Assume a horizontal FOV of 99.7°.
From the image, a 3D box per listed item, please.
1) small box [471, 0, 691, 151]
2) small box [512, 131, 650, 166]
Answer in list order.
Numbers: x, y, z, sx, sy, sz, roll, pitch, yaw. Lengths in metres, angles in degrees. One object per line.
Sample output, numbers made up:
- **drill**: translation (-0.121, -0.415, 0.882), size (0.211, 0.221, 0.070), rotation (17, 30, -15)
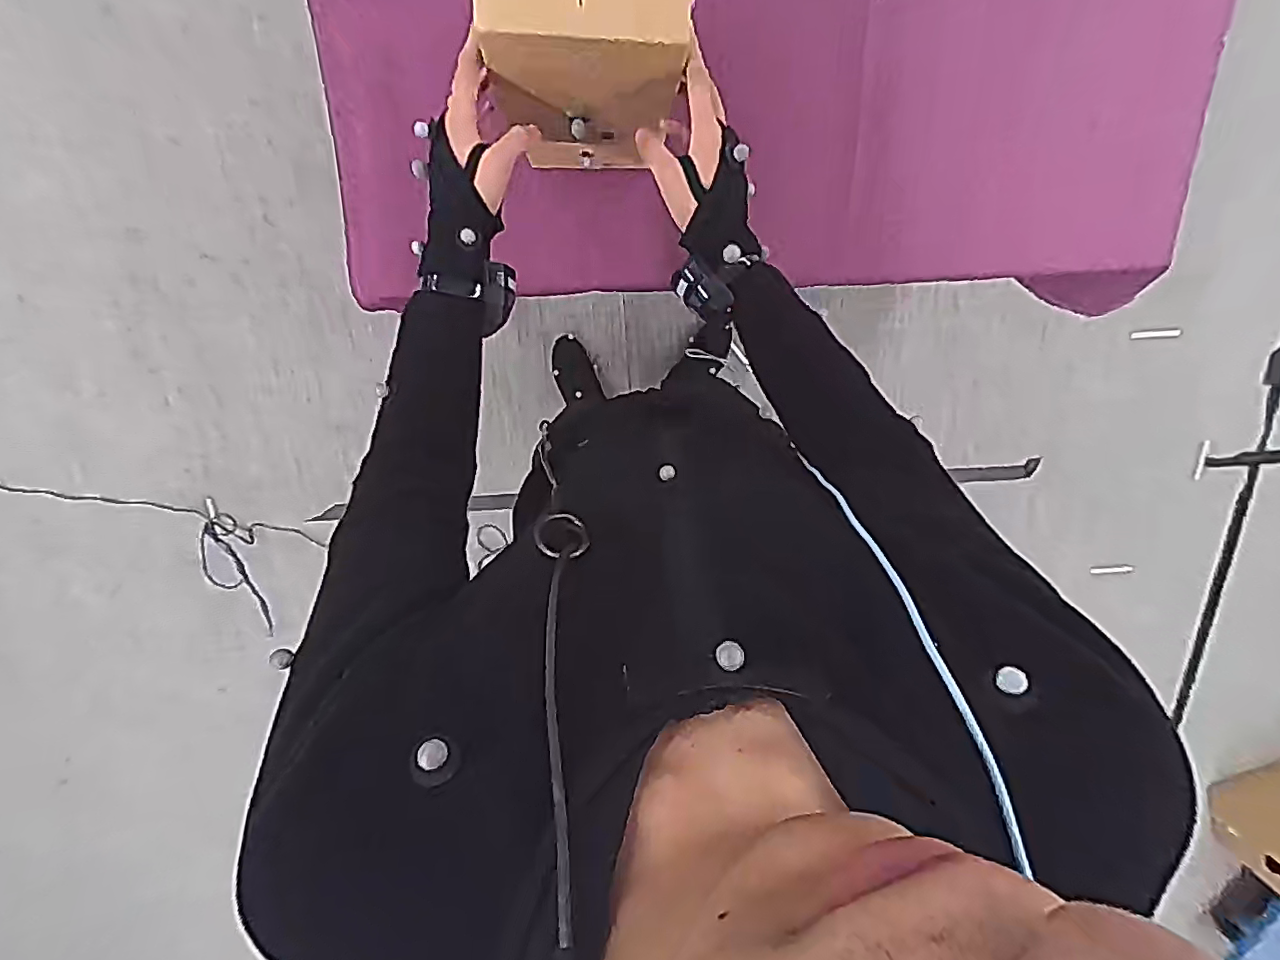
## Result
- **small box**: translation (-0.050, -0.427, 0.475), size (0.168, 0.176, 0.179), rotation (0, 96, -5)
- **small box**: translation (-0.065, -0.490, 0.646), size (0.168, 0.176, 0.179), rotation (-1, 108, -5)
